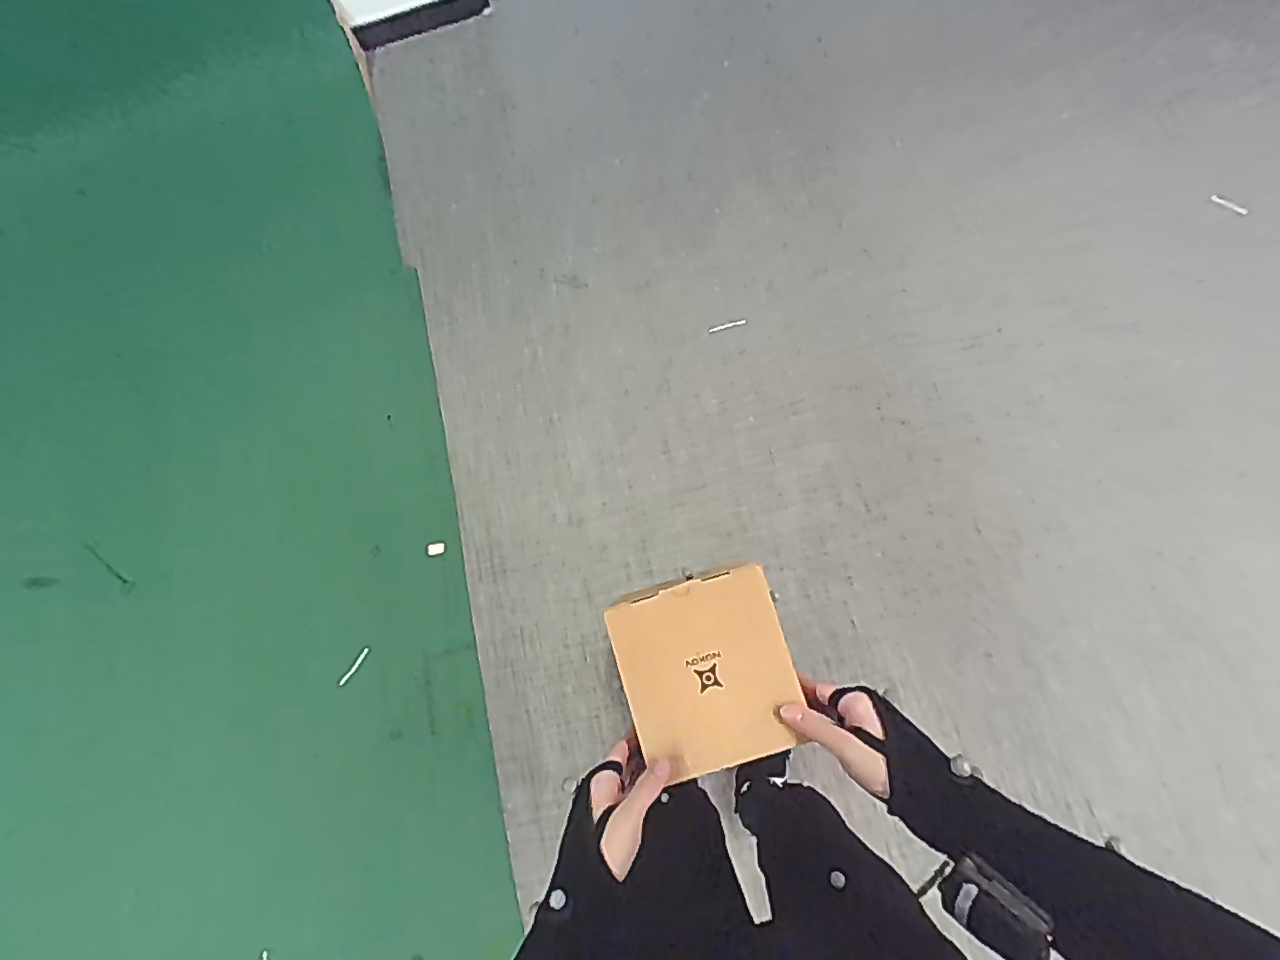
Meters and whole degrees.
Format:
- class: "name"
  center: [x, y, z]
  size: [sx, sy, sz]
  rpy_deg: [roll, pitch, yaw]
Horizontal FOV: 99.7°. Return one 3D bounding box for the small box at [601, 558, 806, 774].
- class: "small box"
  center: [0.067, 0.193, 0.613]
  size: [0.168, 0.176, 0.179]
  rpy_deg: [-17, 80, 1]
